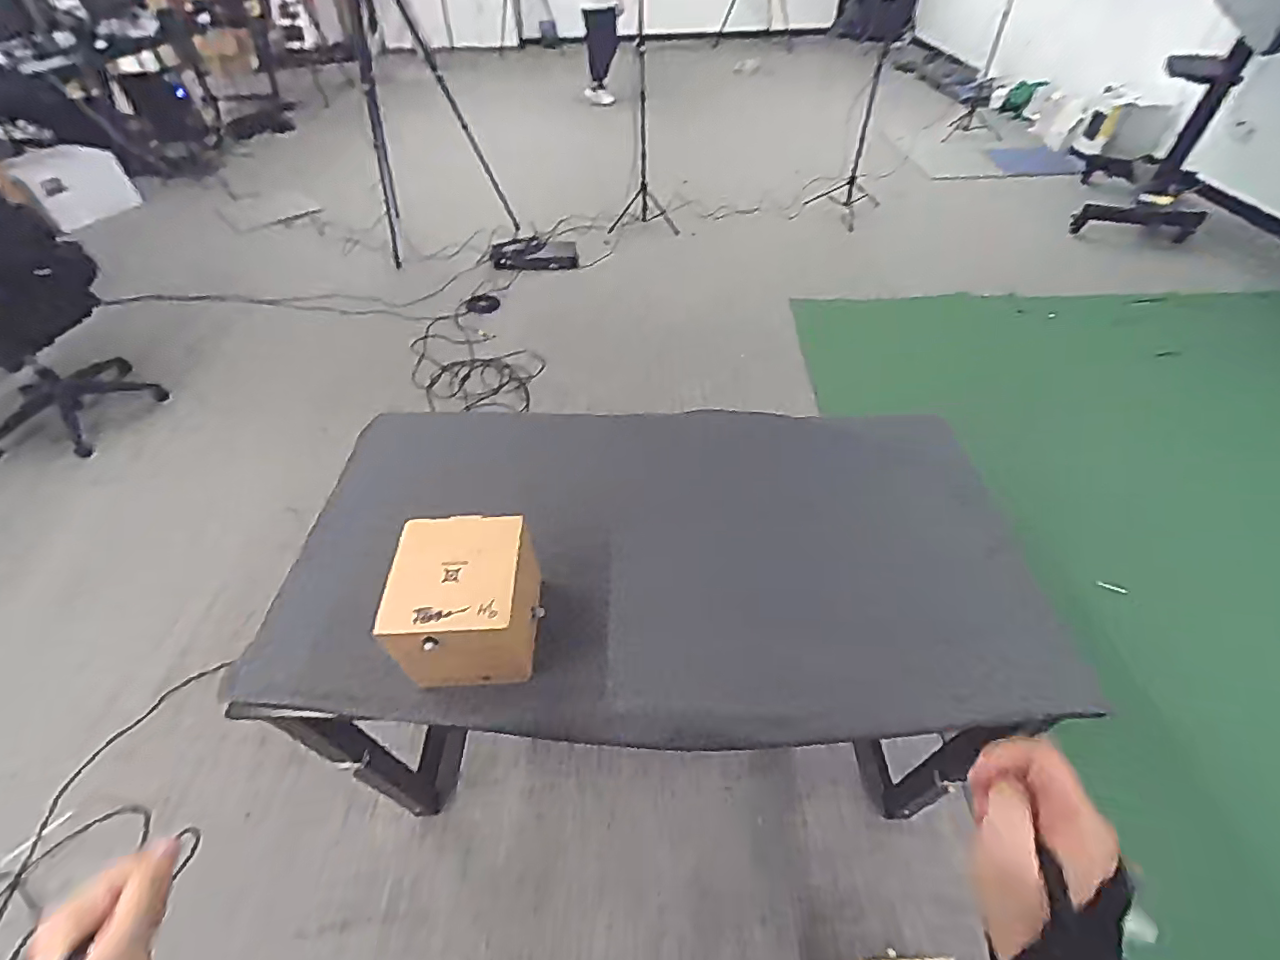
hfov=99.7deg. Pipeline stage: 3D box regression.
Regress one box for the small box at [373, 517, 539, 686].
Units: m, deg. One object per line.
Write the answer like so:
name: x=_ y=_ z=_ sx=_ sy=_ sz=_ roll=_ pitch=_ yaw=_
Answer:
small box: x=-0.242 y=0.172 z=0.766 sx=0.168 sy=0.176 sz=0.179 roll=-2 pitch=48 yaw=0

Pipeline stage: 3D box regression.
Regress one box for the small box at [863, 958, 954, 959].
small box: x=0.496 y=0.987 z=0.981 sx=0.168 sy=0.176 sz=0.179 roll=-2 pitch=47 yaw=0
